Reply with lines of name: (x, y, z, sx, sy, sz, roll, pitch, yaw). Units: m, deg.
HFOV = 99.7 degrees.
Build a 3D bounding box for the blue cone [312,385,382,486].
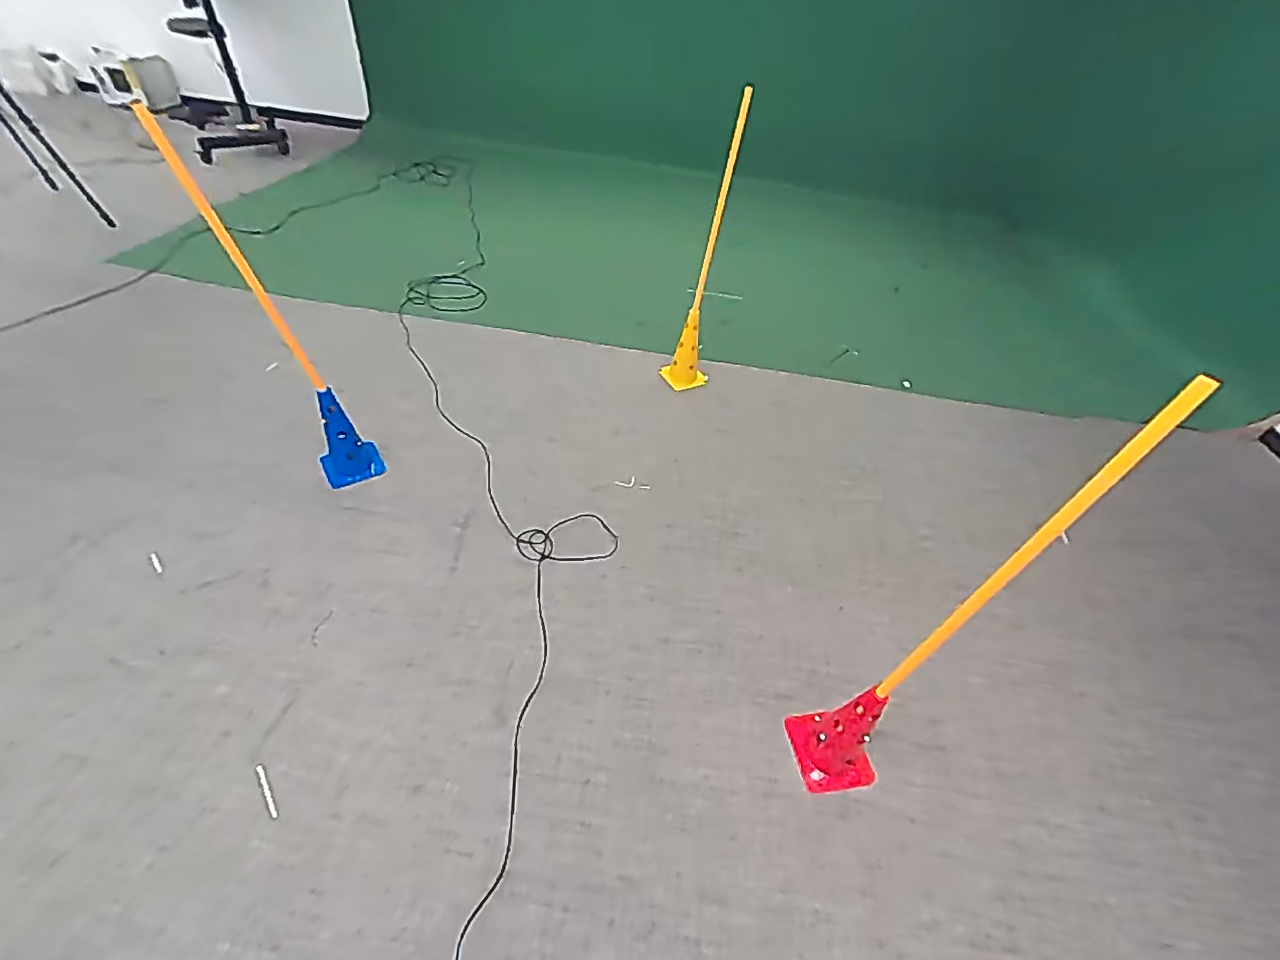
blue cone: (-1.079, -0.172, 1.925, 0.193, 0.380, 0.192, -26, 55, -27)
